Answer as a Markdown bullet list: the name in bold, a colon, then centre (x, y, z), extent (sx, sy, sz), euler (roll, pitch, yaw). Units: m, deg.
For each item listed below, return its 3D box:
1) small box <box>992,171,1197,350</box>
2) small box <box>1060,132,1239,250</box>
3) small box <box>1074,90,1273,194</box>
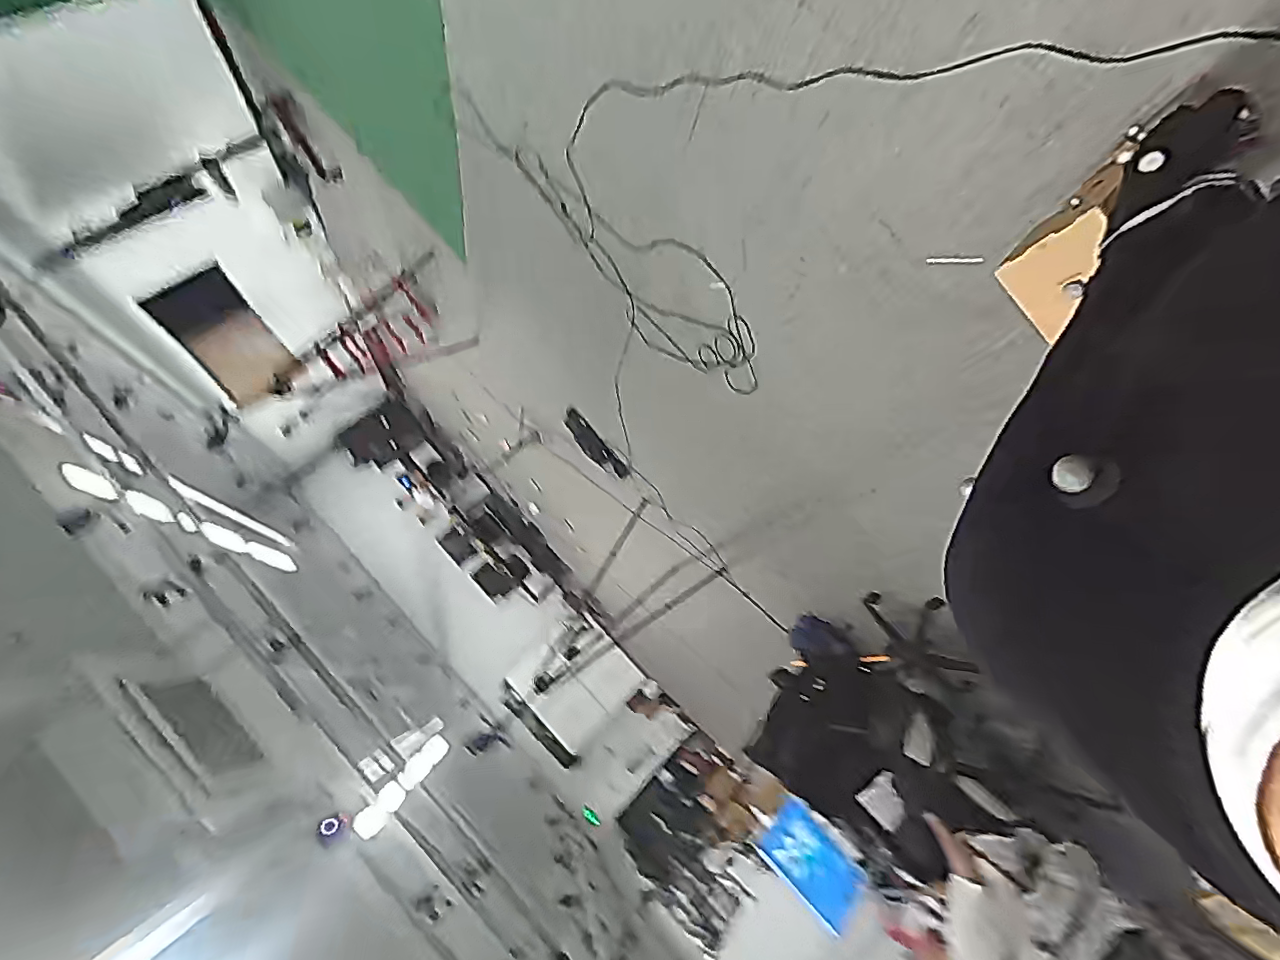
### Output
- **small box**: centre (0.730, -0.352, 0.873), extent (0.179, 0.176, 0.168), euler (50, 159, -2)
- **small box**: centre (0.846, -0.454, 0.924), extent (0.179, 0.176, 0.168), euler (46, 159, 2)
- **small box**: centre (0.960, -0.562, 0.980), extent (0.179, 0.176, 0.168), euler (47, 162, 6)
